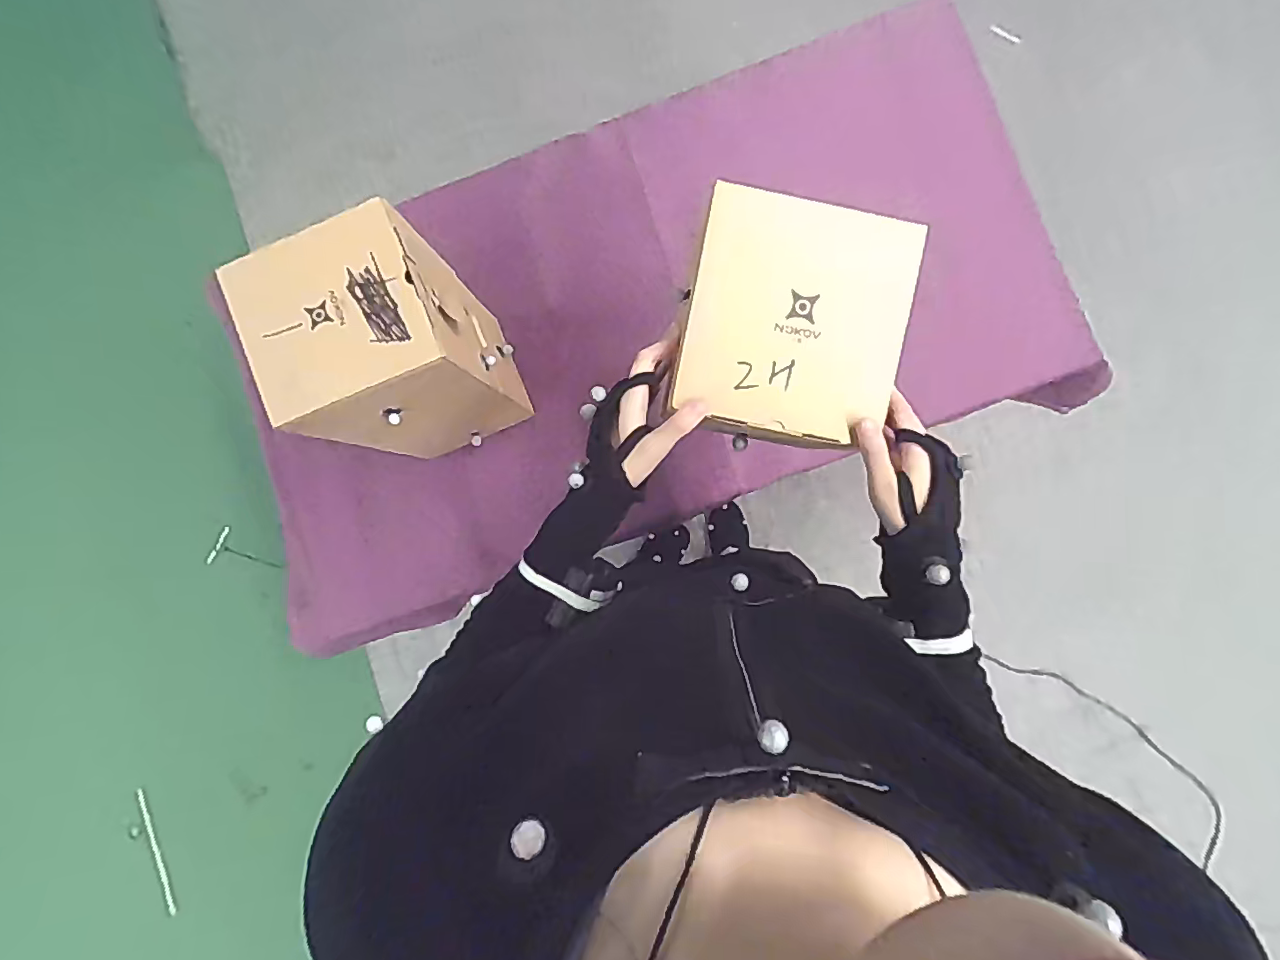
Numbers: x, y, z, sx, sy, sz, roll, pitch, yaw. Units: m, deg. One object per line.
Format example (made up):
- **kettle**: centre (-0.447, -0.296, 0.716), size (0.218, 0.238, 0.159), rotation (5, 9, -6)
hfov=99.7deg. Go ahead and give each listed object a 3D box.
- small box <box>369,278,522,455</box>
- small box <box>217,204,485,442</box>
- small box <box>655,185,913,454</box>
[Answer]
- **small box**: centre (-0.278, -0.144, 0.748), size (0.179, 0.176, 0.168), rotation (-22, 86, 2)
- **small box**: centre (-0.287, -0.151, 0.584), size (0.179, 0.176, 0.168), rotation (-22, 87, 3)
- **small box**: centre (0.111, -0.127, 0.495), size (0.168, 0.176, 0.179), rotation (12, 94, -2)
